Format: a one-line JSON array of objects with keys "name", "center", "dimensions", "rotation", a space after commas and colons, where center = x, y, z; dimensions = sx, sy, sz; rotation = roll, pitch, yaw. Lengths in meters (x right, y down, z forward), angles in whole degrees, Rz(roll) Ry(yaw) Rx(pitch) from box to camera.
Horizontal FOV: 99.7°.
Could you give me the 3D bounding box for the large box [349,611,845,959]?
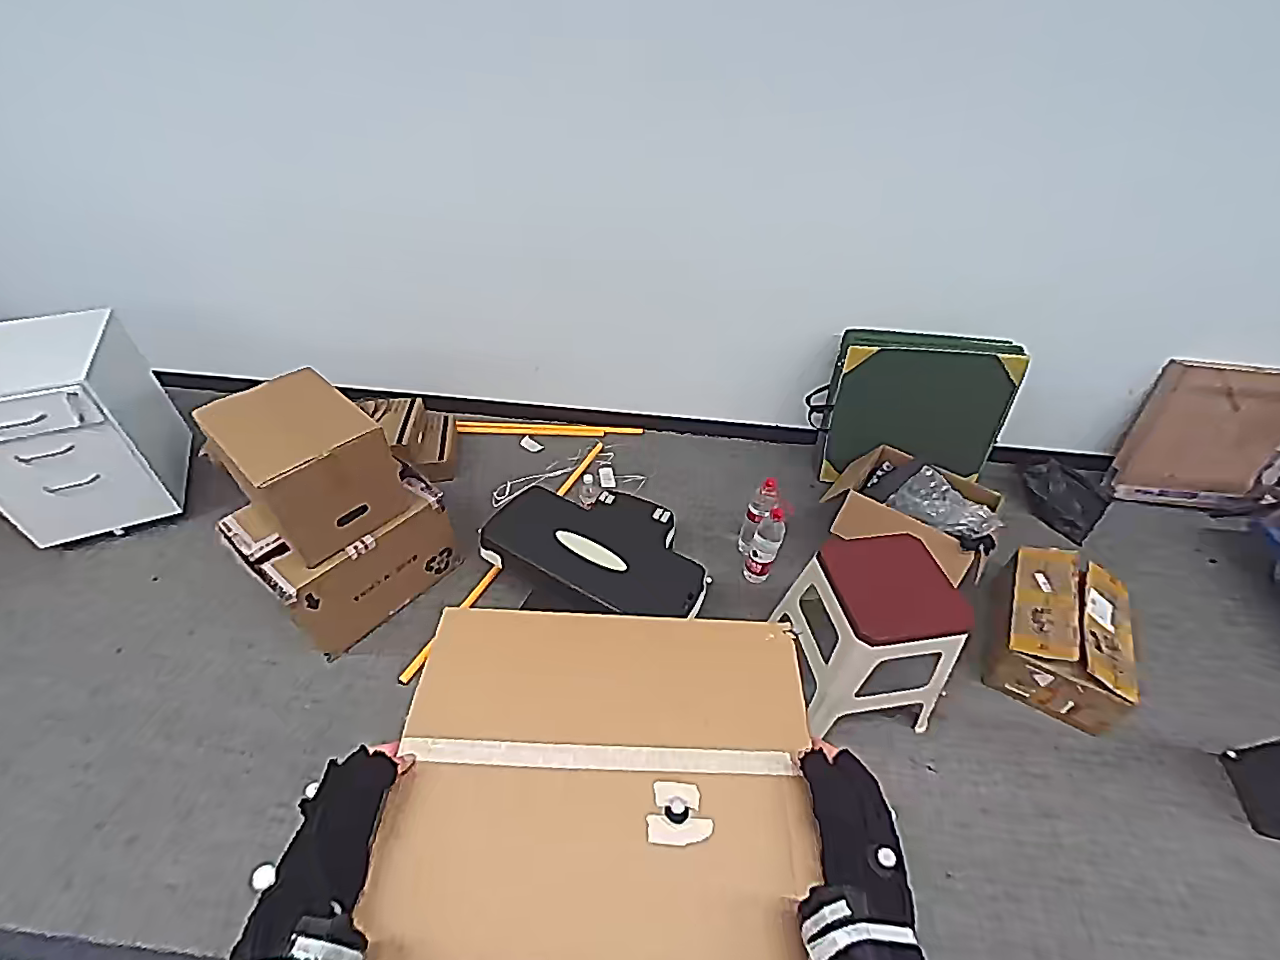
[{"name": "large box", "center": [-0.037, 0.376, 0.634], "dimensions": [0.408, 0.320, 0.320], "rotation": [3, 45, 0]}]
